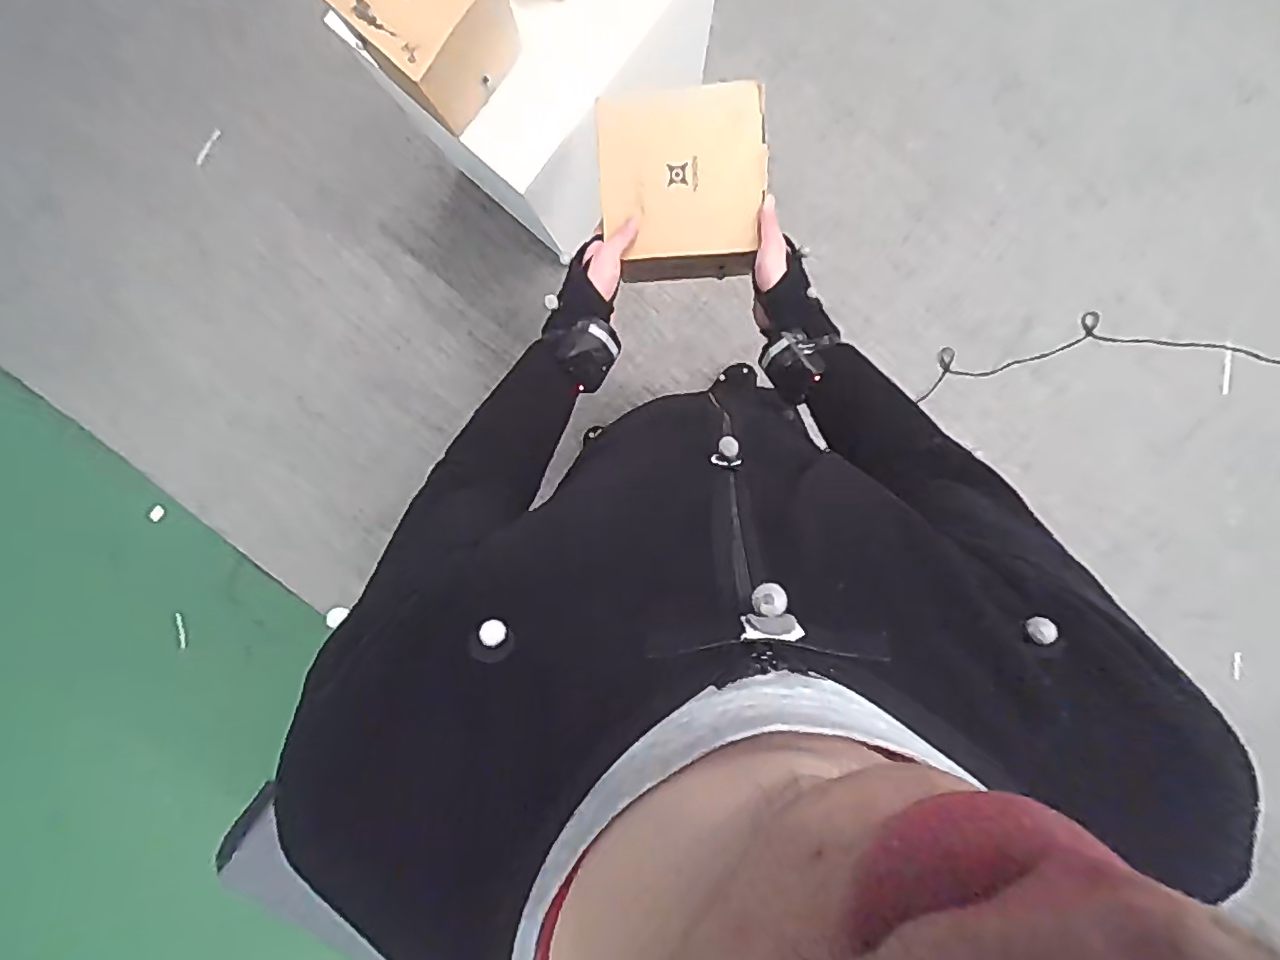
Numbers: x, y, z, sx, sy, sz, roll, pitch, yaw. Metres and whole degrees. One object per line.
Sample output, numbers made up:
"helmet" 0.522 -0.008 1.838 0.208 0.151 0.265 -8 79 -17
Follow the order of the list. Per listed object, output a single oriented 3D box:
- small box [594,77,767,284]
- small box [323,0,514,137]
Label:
"small box" 0.051 -0.336 0.641 0.179 0.176 0.168 -2 101 7
"small box" -0.298 -0.644 0.765 0.168 0.176 0.179 41 97 -5
